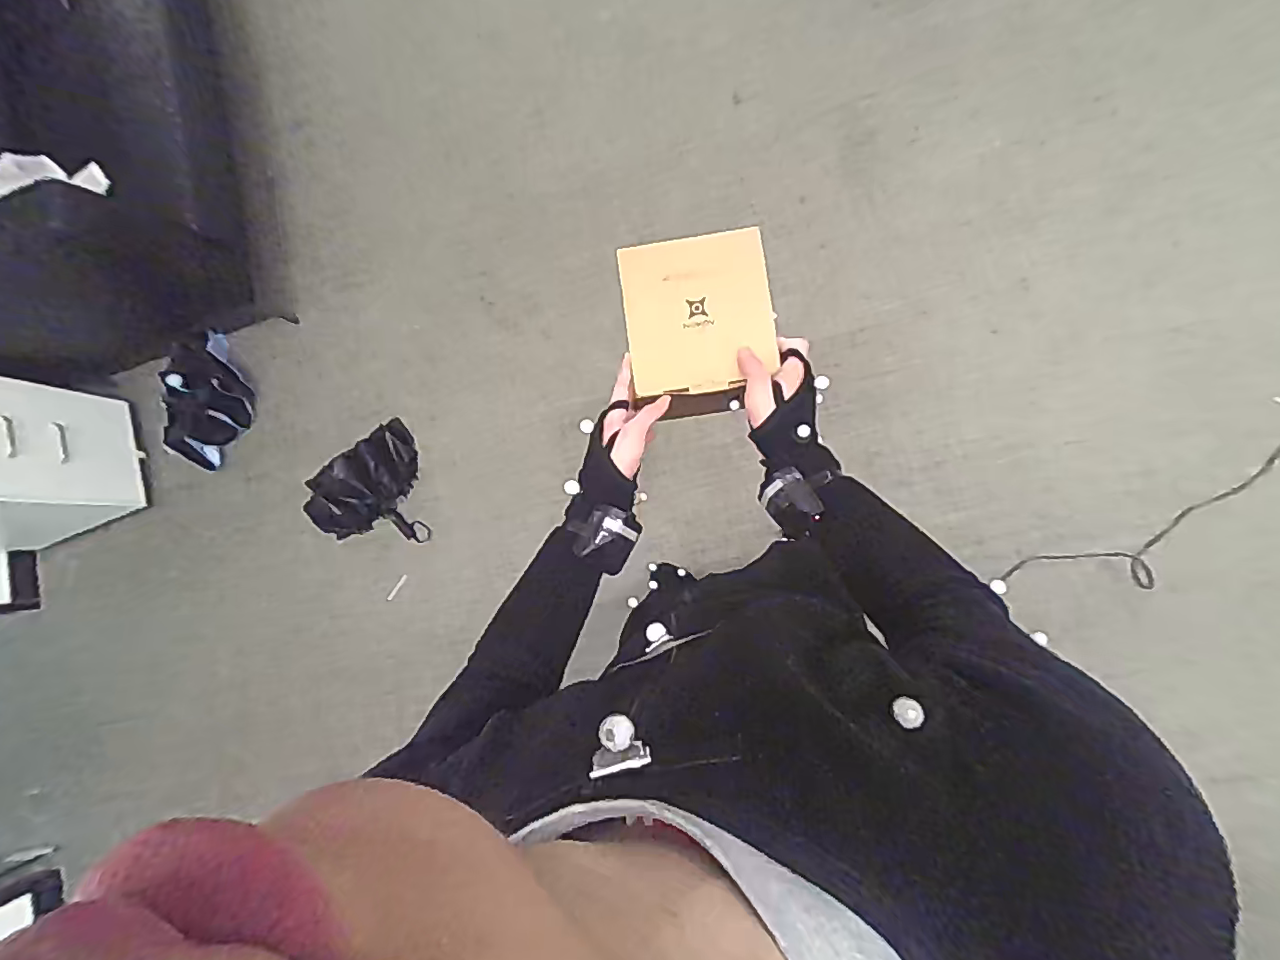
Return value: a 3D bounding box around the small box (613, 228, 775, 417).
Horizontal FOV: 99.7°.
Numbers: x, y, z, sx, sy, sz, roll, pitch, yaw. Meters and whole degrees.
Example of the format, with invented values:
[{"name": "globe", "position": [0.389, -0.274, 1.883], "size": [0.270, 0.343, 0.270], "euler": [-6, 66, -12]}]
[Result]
[{"name": "small box", "position": [0.067, -0.181, 0.682], "size": [0.168, 0.176, 0.179], "euler": [-8, 86, 5]}]
